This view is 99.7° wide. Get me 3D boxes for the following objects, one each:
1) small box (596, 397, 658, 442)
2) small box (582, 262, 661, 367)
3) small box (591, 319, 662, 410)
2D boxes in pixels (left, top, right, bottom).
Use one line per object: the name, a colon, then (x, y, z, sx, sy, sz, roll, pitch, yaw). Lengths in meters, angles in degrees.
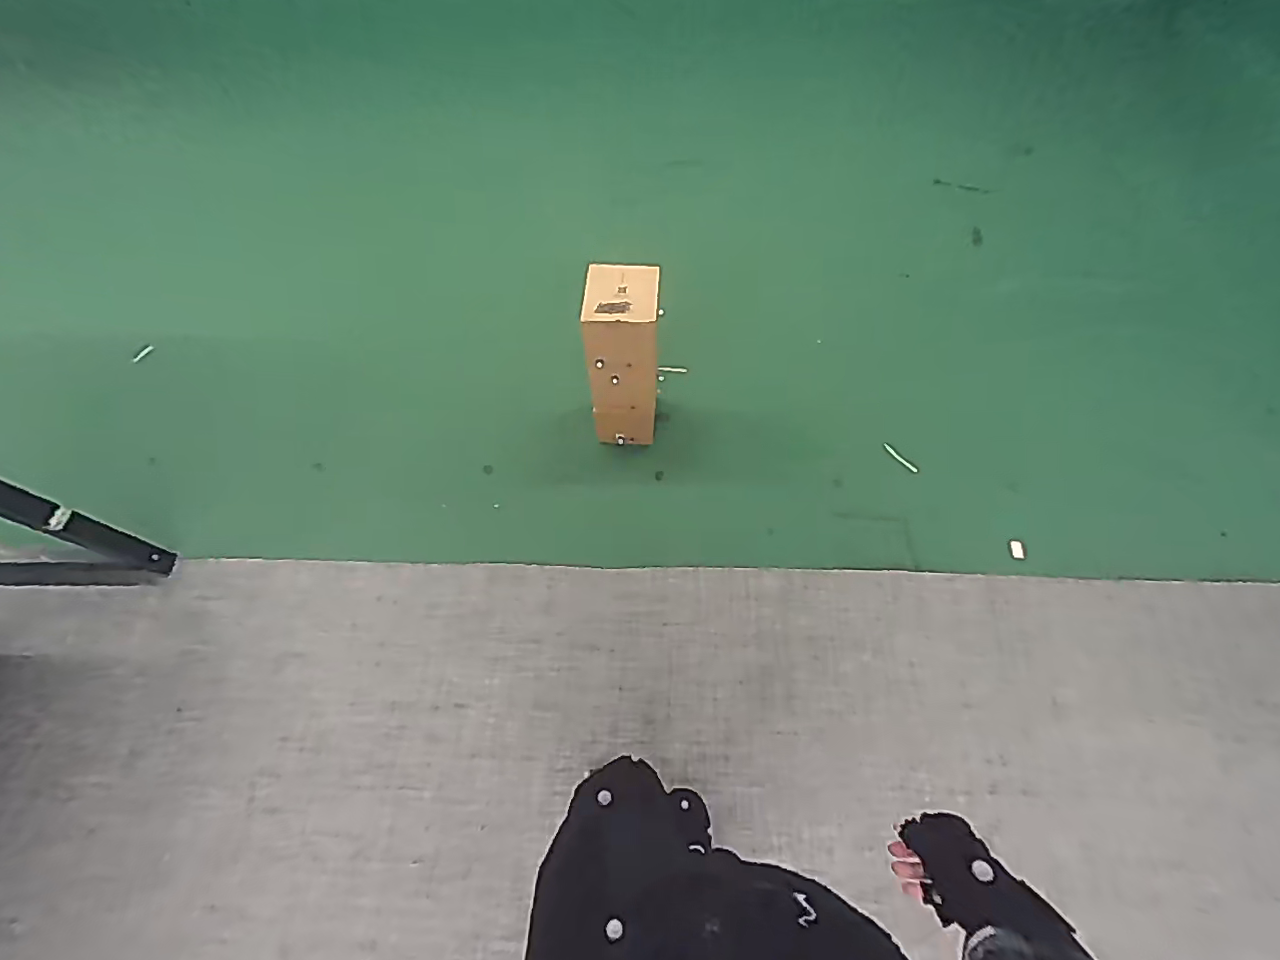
small box: (-0.031, -0.228, 1.566, 0.168, 0.176, 0.179, 2, 65, 3)
small box: (-0.037, -0.386, 1.278, 0.168, 0.176, 0.179, 3, 62, 3)
small box: (-0.031, -0.306, 1.422, 0.168, 0.176, 0.179, 3, 63, 3)
